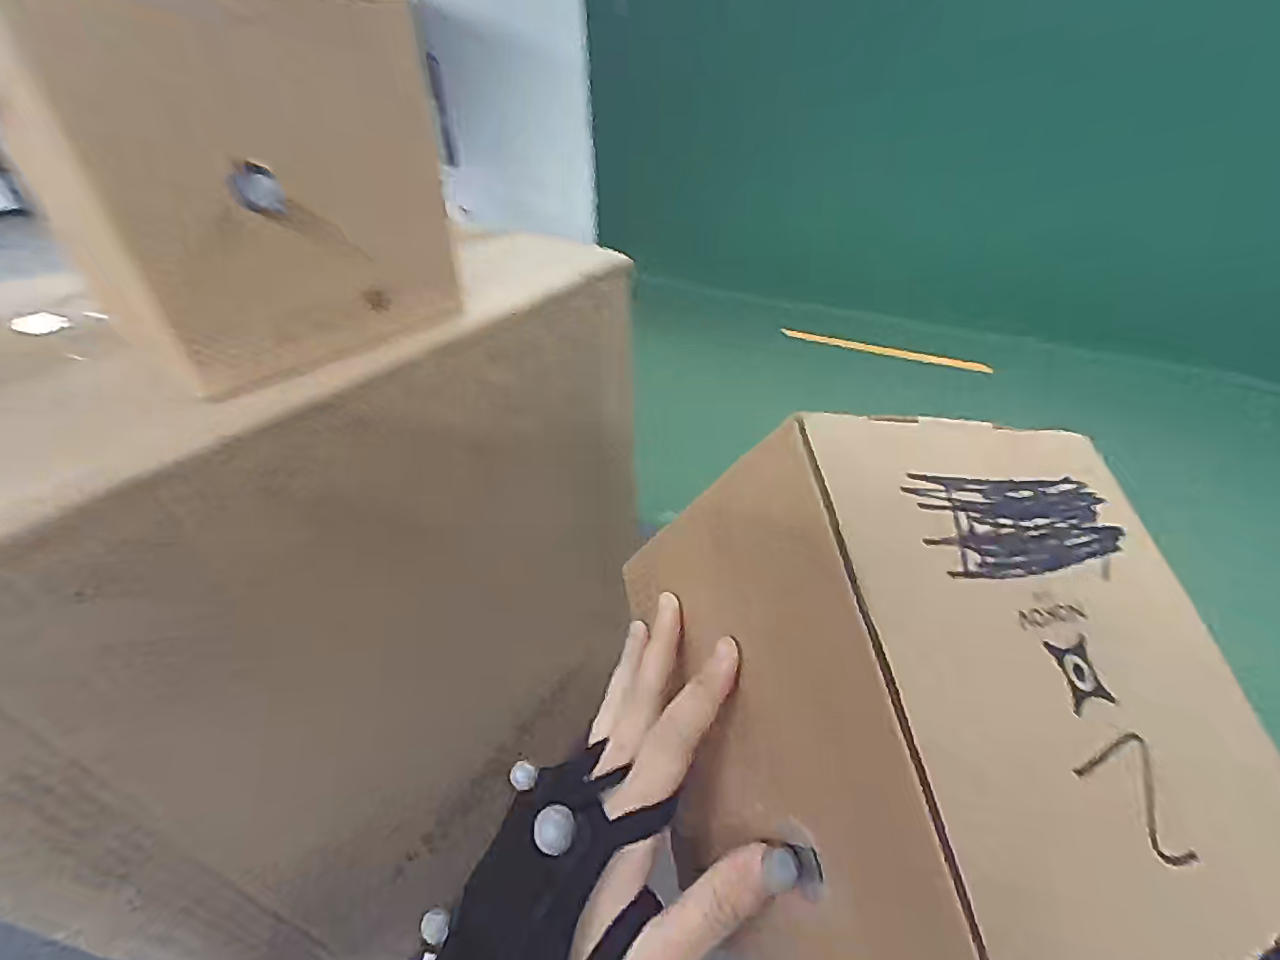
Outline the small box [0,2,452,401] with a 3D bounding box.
[{"bbox_3d":[-0.238,-0.166,0.318,0.179,0.176,0.168,27,46,28],"label":"small box"}]
